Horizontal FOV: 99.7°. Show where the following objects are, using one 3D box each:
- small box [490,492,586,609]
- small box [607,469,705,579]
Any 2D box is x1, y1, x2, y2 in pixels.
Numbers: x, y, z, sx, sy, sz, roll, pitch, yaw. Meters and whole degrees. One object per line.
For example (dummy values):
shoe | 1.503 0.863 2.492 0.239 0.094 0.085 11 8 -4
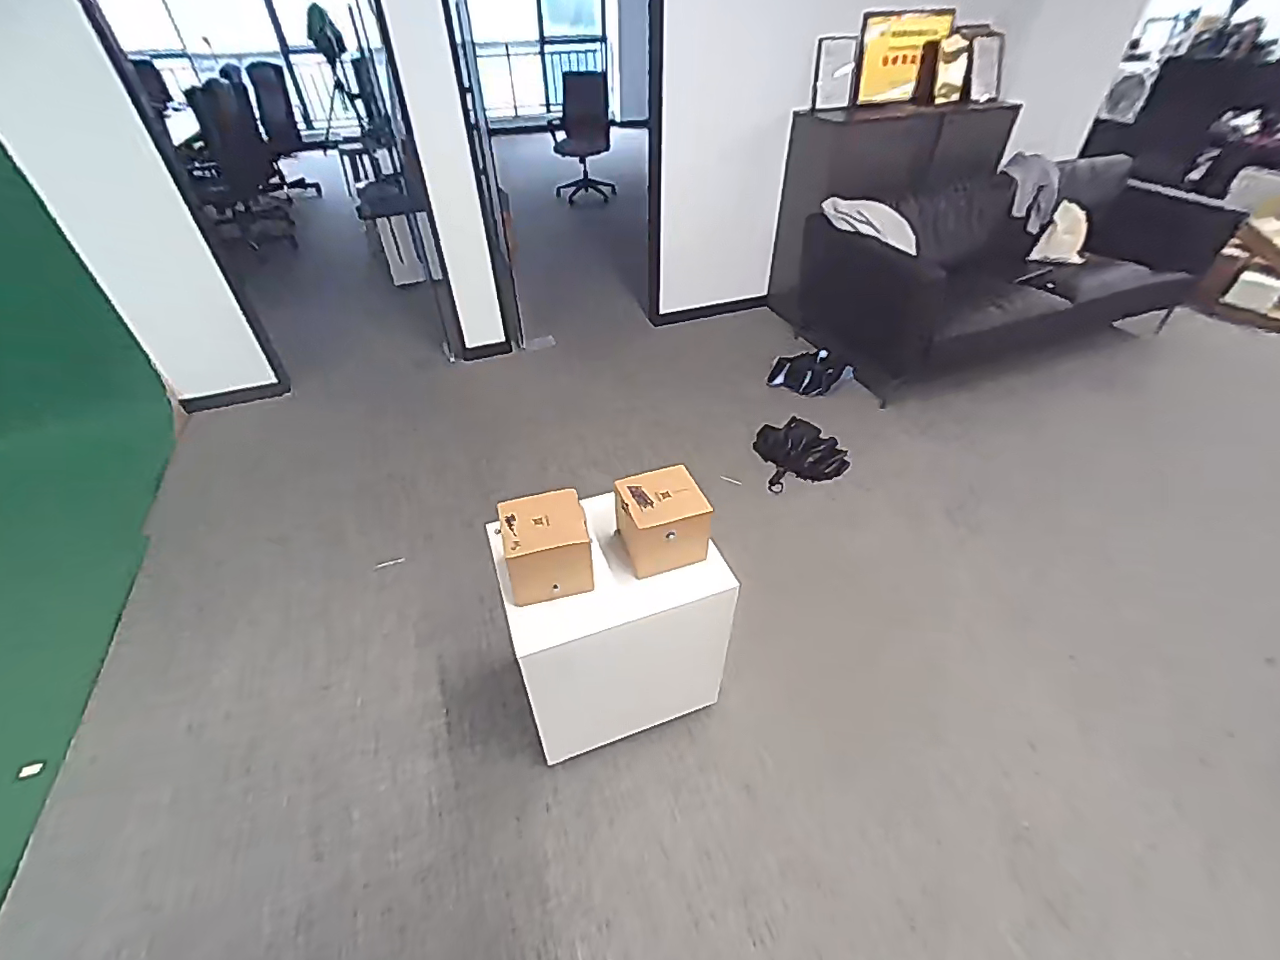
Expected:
small box | -0.219 0.152 1.166 0.179 0.176 0.168 -9 42 -15
small box | 0.032 0.103 1.238 0.179 0.176 0.168 -13 43 -18
